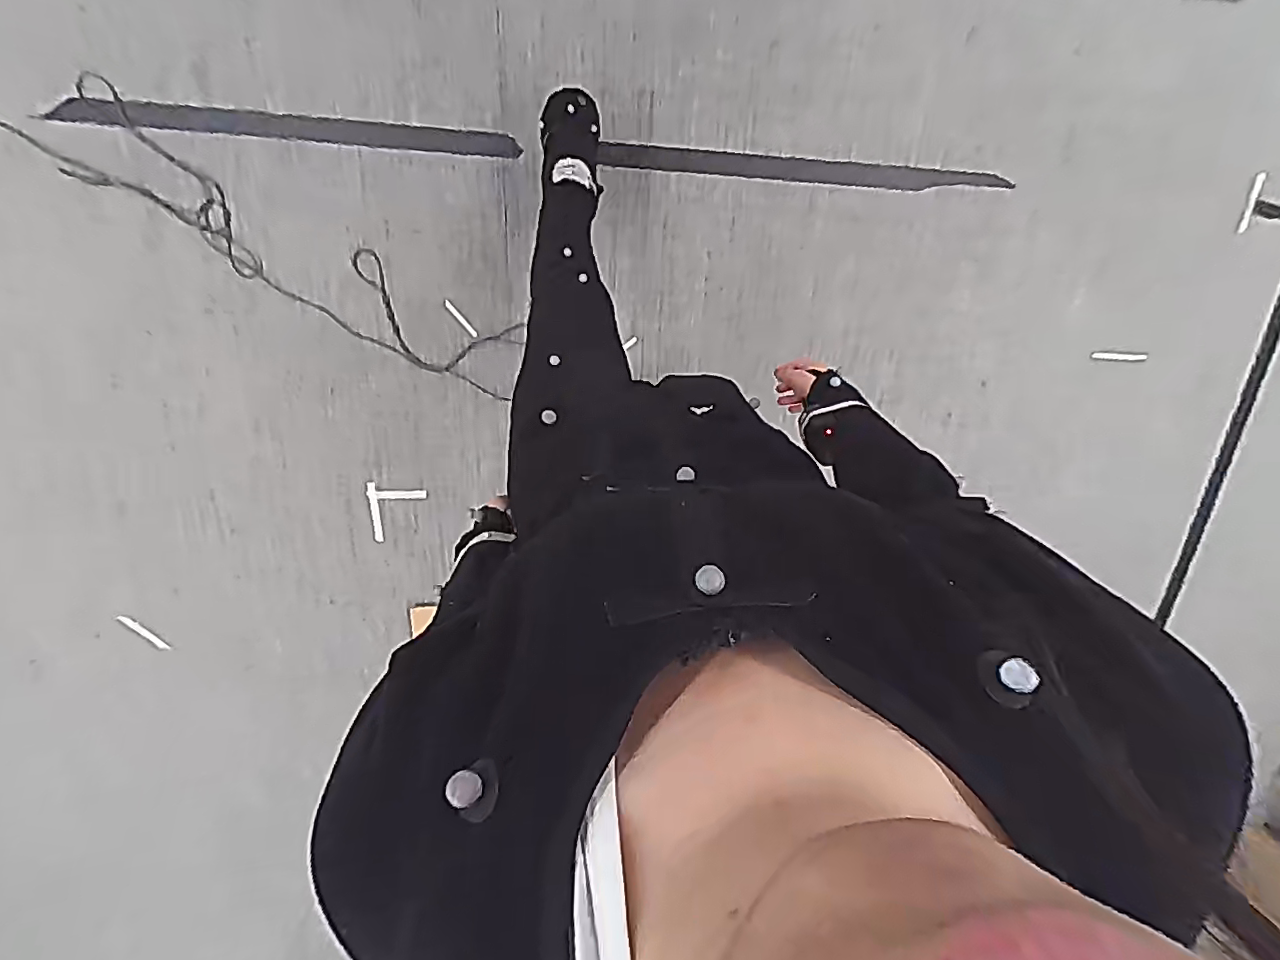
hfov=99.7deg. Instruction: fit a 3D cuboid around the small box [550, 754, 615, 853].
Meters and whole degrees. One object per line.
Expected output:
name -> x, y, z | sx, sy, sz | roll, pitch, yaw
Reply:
small box -> -0.157, 0.902, 1.519 | 0.168, 0.176, 0.179 | -4, 109, -4
